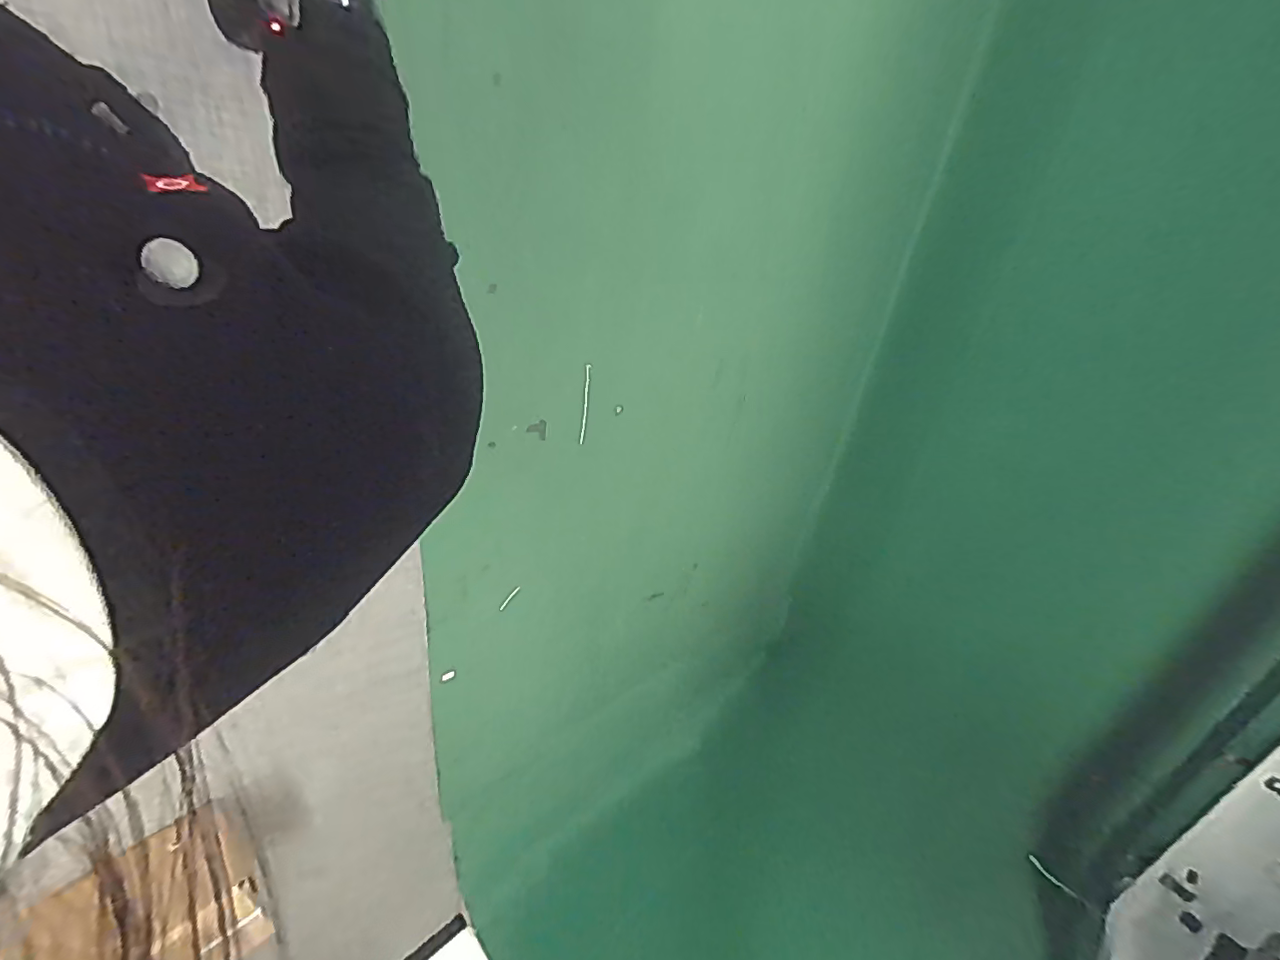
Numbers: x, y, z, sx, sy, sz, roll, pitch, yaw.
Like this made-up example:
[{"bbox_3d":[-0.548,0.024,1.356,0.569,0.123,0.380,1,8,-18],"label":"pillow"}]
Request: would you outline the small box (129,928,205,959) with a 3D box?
[{"bbox_3d":[-1.192,1.273,1.334,0.179,0.176,0.168,-23,130,-38],"label":"small box"}]
